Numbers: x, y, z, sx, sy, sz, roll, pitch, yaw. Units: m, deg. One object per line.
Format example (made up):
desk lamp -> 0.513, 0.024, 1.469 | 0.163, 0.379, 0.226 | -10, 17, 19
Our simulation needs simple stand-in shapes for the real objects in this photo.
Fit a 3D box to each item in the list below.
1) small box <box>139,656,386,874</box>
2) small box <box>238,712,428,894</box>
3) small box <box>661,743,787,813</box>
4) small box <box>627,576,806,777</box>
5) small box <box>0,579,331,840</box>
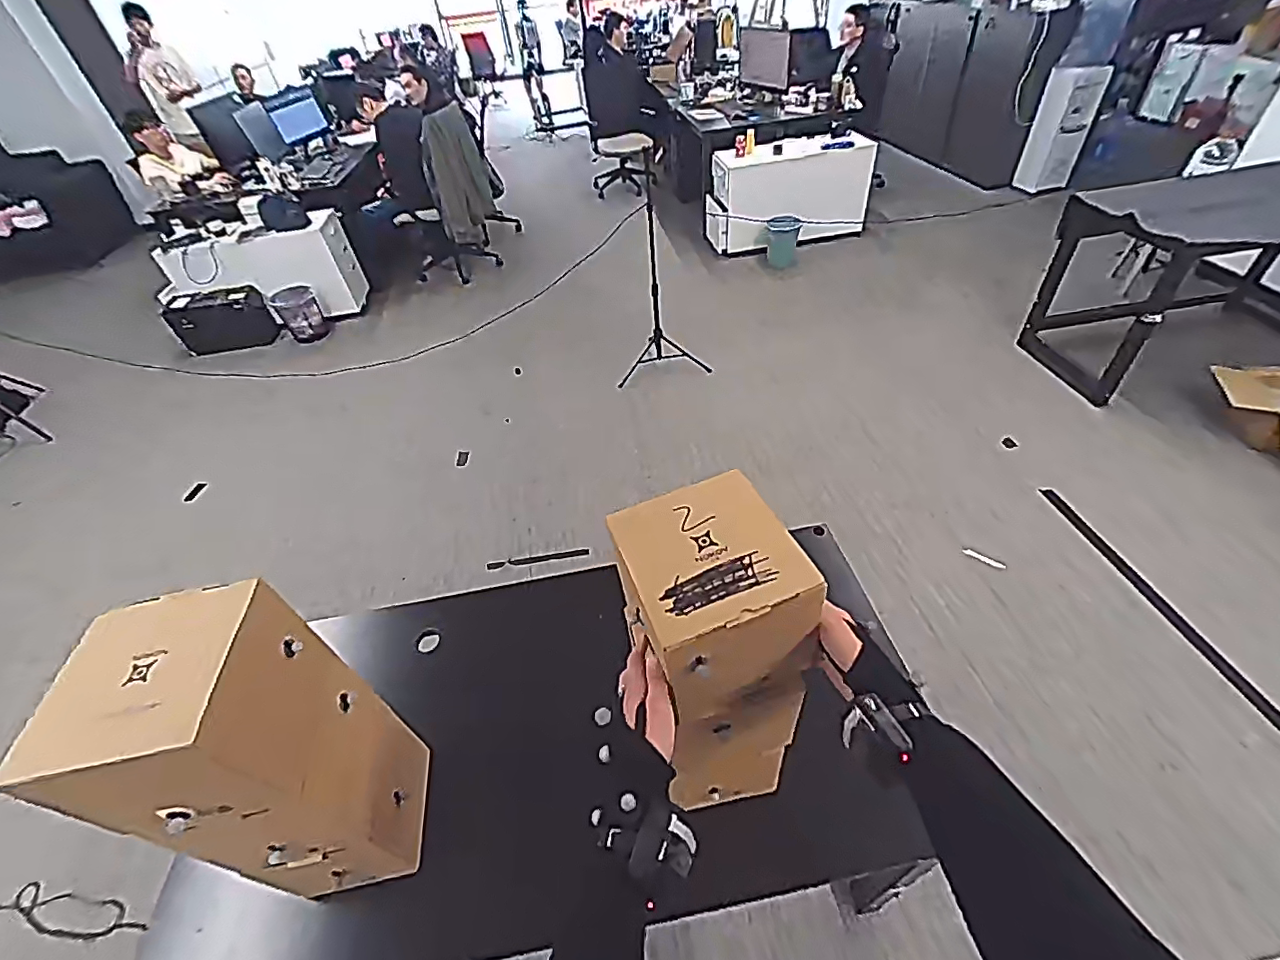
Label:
small box -> -0.435, 0.349, 0.666 | 0.168, 0.176, 0.179 | -12, 44, -3
small box -> -0.420, 0.469, 0.779 | 0.168, 0.176, 0.179 | -11, 44, -5
small box -> 0.106, 0.368, 0.814 | 0.168, 0.176, 0.179 | -11, 44, -3
small box -> 0.091, 0.254, 0.696 | 0.179, 0.176, 0.168 | -13, 44, -6
small box -> -0.449, 0.233, 0.553 | 0.168, 0.176, 0.179 | -12, 44, -3
